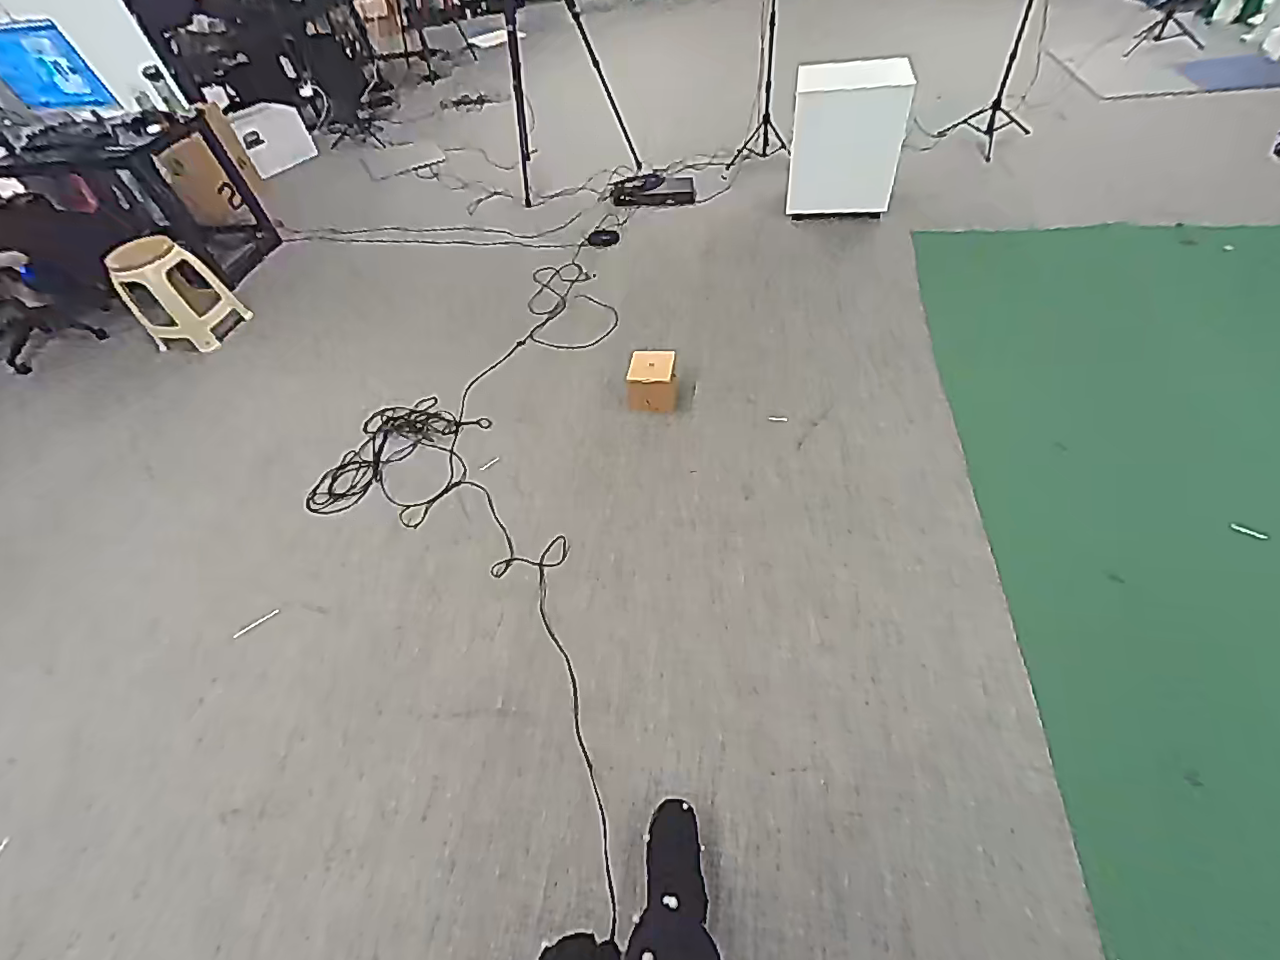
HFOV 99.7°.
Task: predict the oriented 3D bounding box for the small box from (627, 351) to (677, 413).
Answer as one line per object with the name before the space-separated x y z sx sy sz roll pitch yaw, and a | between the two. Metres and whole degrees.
small box | 0.053 -0.384 2.116 0.168 0.176 0.179 3 51 11
